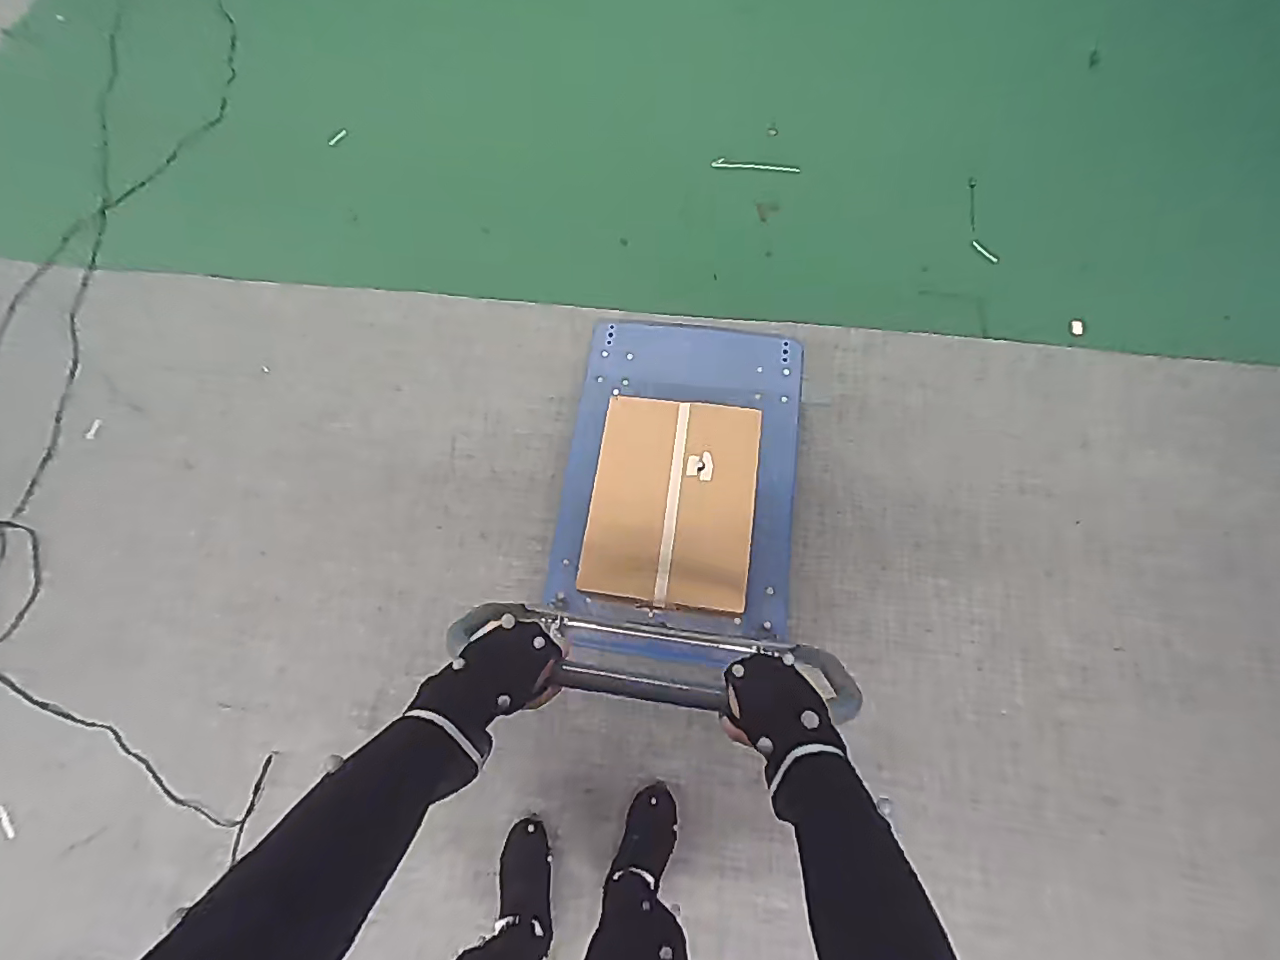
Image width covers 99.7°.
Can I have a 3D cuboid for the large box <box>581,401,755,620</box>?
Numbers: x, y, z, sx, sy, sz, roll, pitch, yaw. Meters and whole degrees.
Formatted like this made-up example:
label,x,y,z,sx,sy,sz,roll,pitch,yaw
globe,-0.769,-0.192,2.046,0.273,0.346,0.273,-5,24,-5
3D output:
label,x,y,z,sx,sy,sz,roll,pitch,yaw
large box,0.072,0.083,1.206,0.320,0.320,0.408,7,72,5
